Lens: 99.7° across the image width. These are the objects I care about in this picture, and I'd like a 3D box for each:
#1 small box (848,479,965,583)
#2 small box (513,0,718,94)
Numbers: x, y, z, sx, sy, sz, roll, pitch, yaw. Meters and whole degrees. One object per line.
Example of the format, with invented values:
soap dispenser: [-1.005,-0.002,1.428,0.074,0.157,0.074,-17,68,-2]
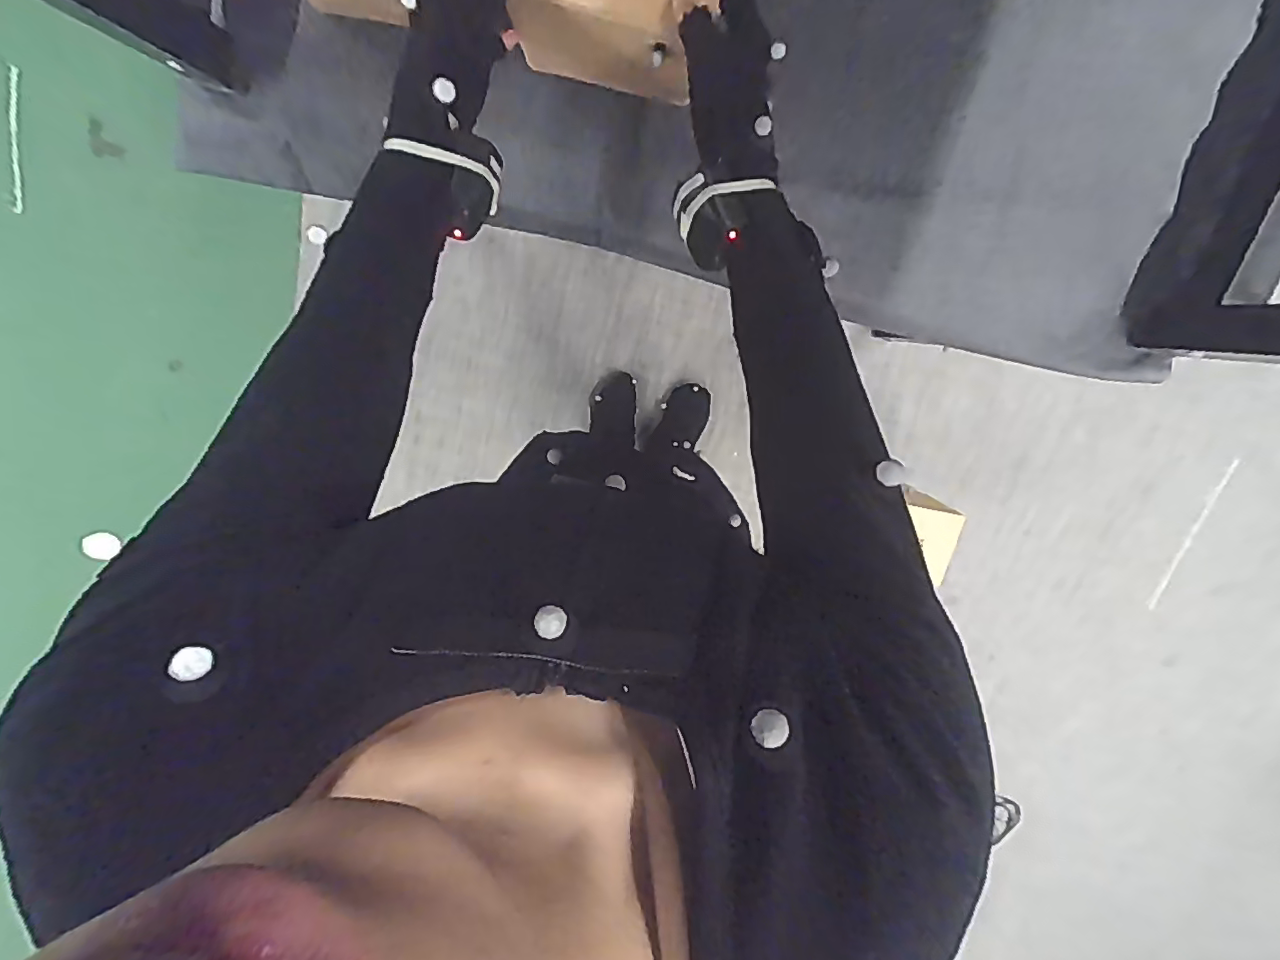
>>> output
small box: [0.609,0.115,1.267,0.168,0.176,0.179,12,105,-3]
small box: [-0.016,-0.467,0.469,0.179,0.176,0.168,10,111,-7]
